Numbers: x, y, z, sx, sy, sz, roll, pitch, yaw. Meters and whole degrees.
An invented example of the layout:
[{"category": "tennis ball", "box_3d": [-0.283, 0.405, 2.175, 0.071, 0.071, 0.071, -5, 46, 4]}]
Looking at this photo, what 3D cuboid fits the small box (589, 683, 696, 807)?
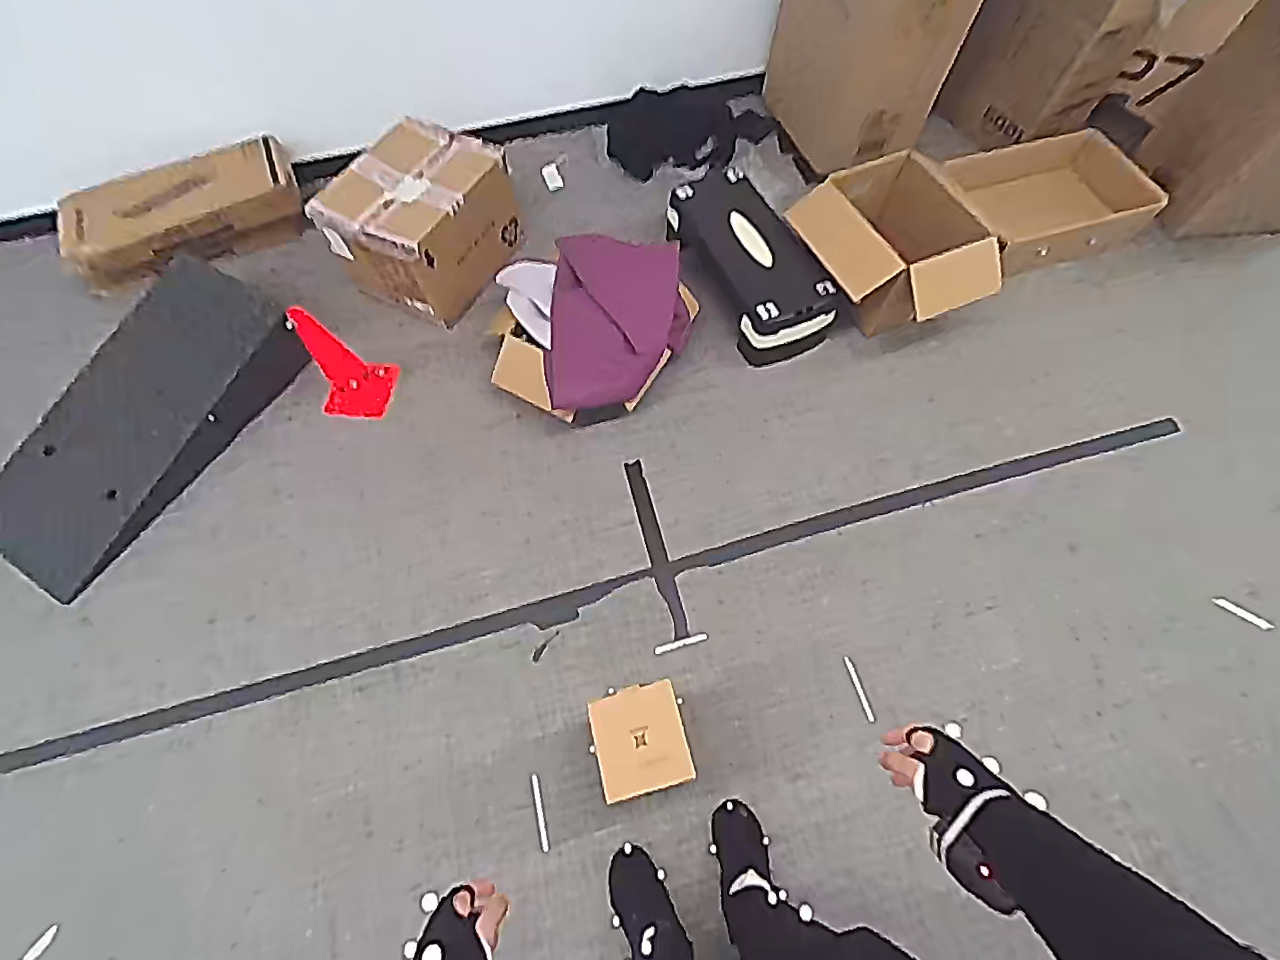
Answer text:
[{"category": "small box", "box_3d": [0.003, 0.515, 1.063, 0.168, 0.176, 0.179, -15, 66, -4]}]
